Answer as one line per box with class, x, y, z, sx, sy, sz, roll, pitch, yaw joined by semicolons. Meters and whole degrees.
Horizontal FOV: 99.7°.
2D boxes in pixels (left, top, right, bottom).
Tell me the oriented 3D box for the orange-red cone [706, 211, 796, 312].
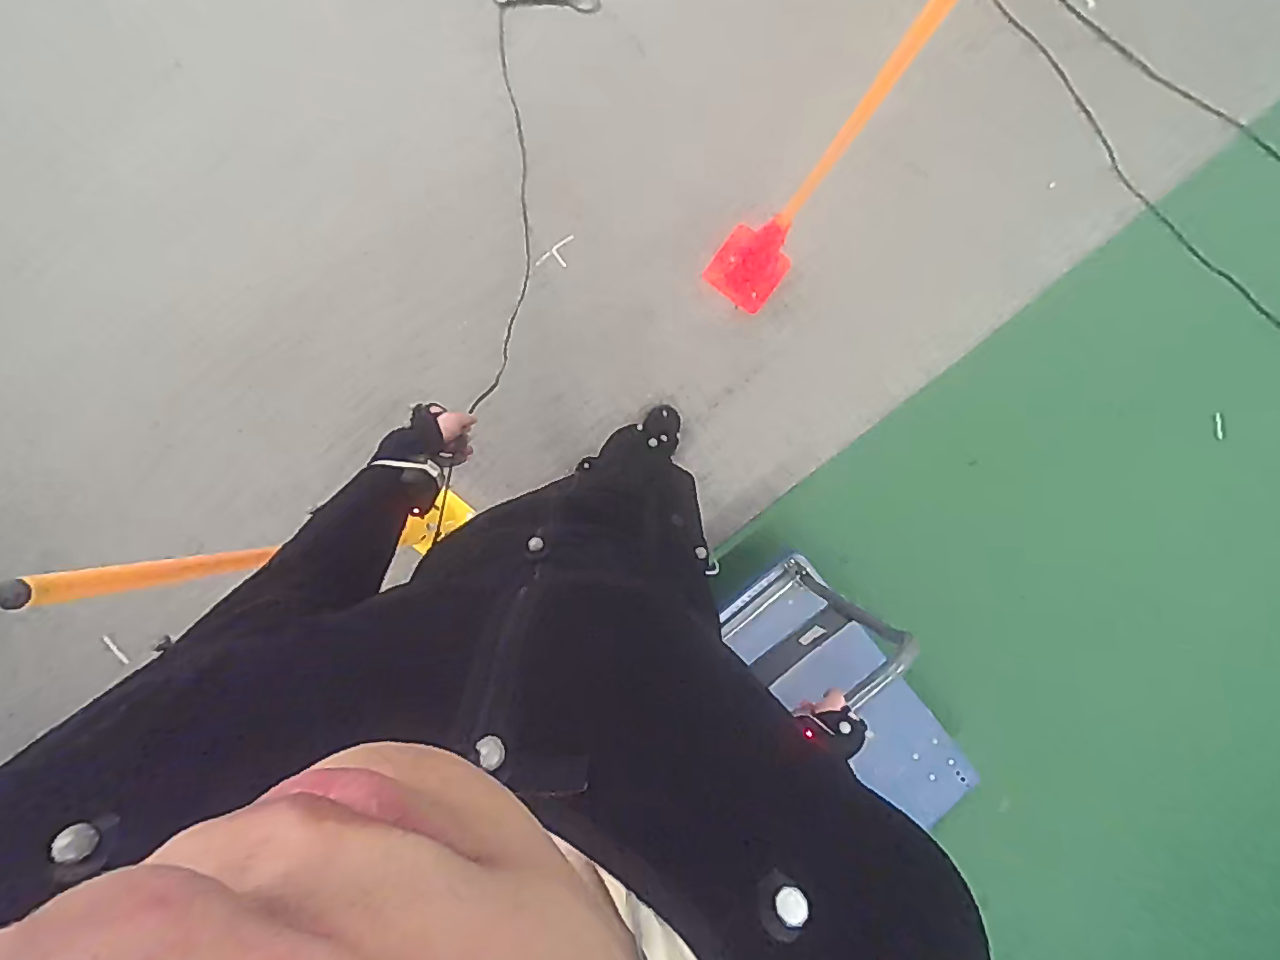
orange-red cone;0.329;-0.611;1.413;0.198;0.360;0.199;37;90;-5
